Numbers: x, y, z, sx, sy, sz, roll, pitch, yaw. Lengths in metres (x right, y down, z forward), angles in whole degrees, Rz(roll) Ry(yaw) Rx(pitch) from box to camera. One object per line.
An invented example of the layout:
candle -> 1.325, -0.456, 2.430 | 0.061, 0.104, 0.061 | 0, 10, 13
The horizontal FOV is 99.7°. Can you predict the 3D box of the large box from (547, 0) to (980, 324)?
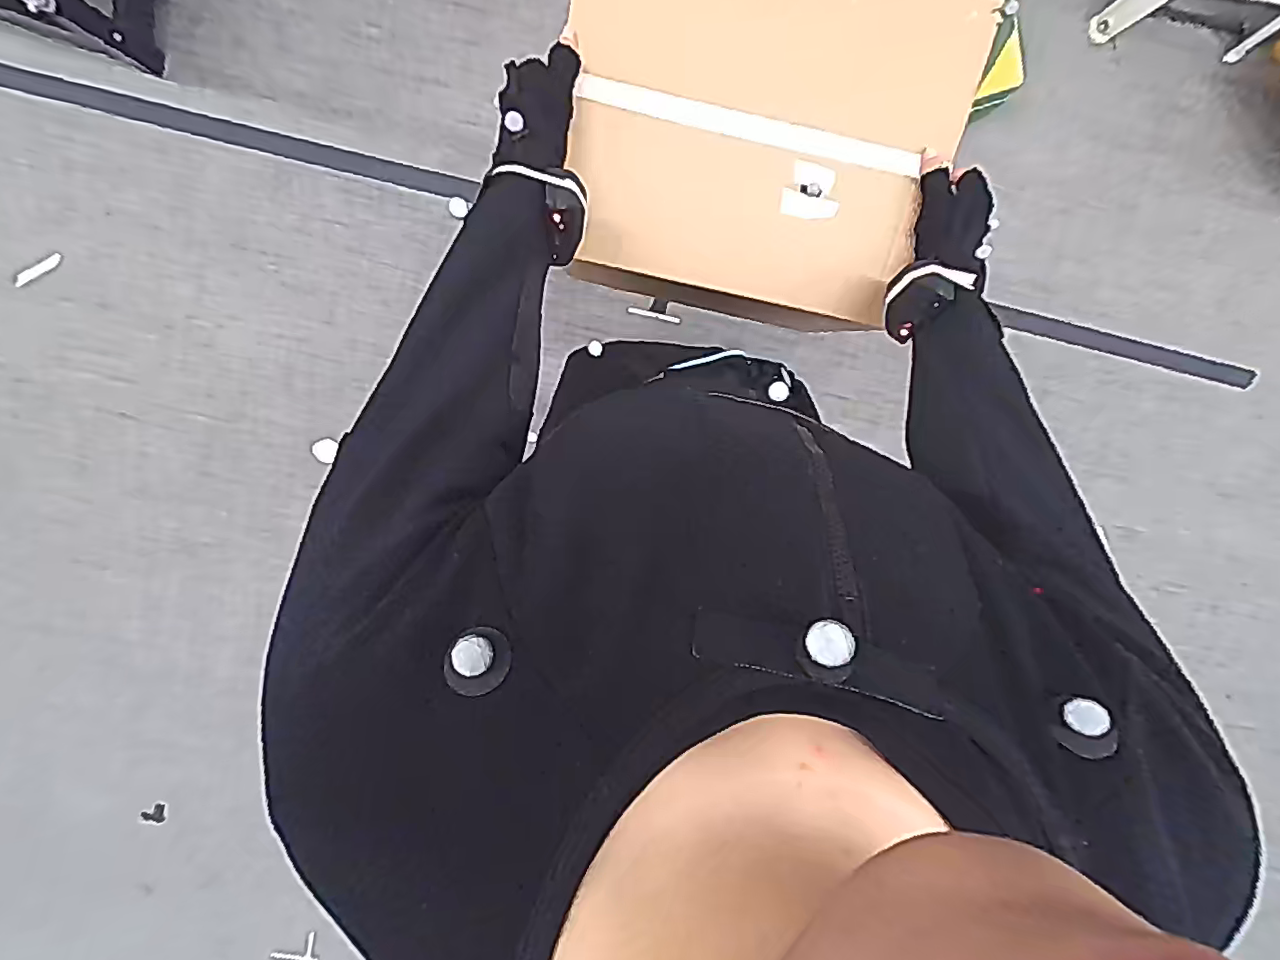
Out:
large box -> 0.114, -0.398, 0.705 | 0.408, 0.320, 0.320 | 11, 106, -5
